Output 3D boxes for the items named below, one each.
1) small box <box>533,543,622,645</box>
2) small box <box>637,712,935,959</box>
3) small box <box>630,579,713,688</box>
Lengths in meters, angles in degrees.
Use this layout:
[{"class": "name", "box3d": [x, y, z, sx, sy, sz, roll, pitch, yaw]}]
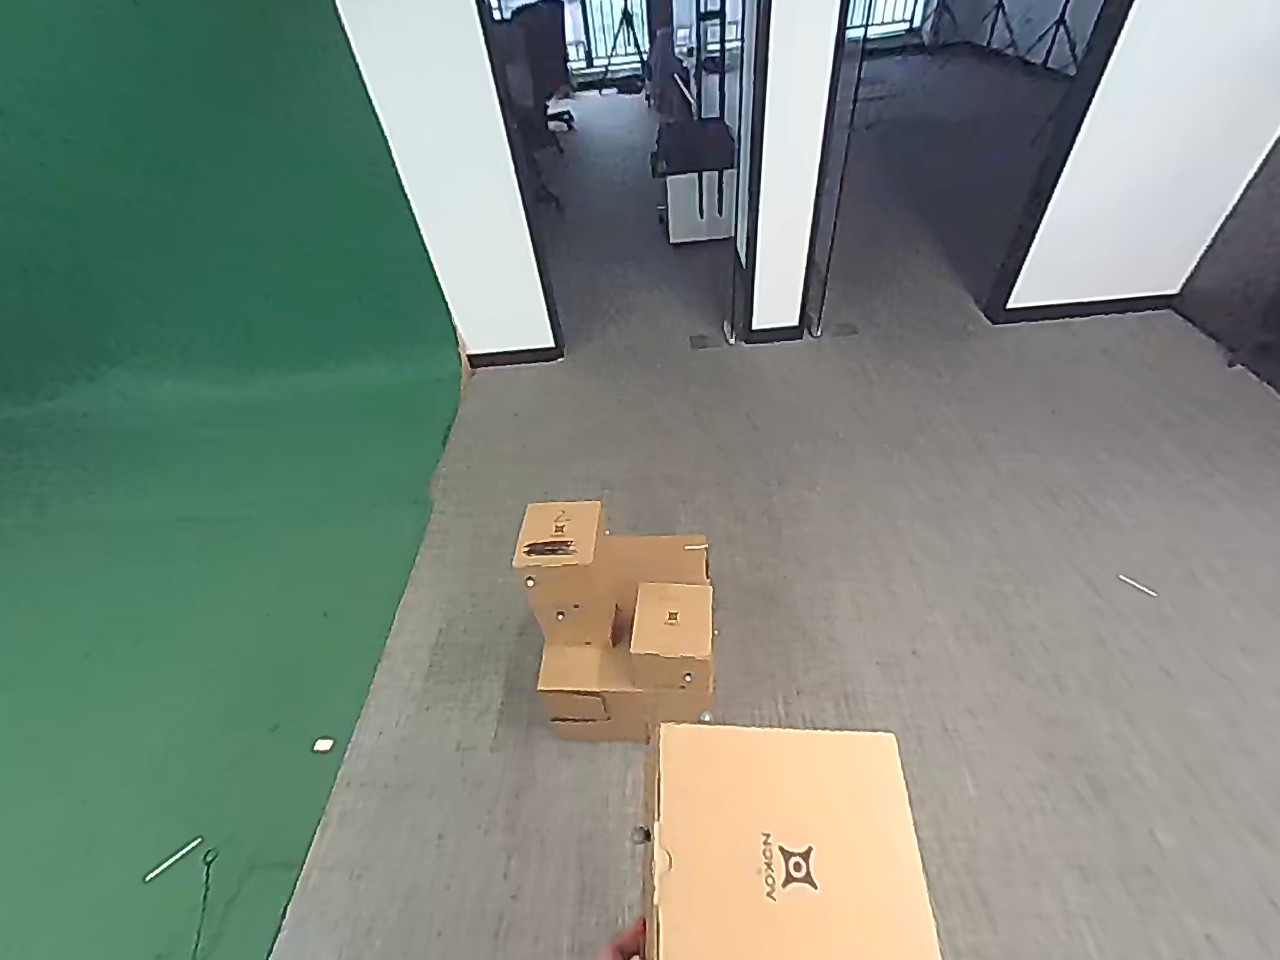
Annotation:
[{"class": "small box", "box3d": [-0.141, 0.273, 1.300, 0.168, 0.176, 0.179, 0, 44, 9]}, {"class": "small box", "box3d": [0.090, 0.283, 0.418, 0.179, 0.176, 0.168, 2, 58, 0]}, {"class": "small box", "box3d": [0.076, 0.343, 1.201, 0.168, 0.176, 0.179, 2, 44, 7]}]
